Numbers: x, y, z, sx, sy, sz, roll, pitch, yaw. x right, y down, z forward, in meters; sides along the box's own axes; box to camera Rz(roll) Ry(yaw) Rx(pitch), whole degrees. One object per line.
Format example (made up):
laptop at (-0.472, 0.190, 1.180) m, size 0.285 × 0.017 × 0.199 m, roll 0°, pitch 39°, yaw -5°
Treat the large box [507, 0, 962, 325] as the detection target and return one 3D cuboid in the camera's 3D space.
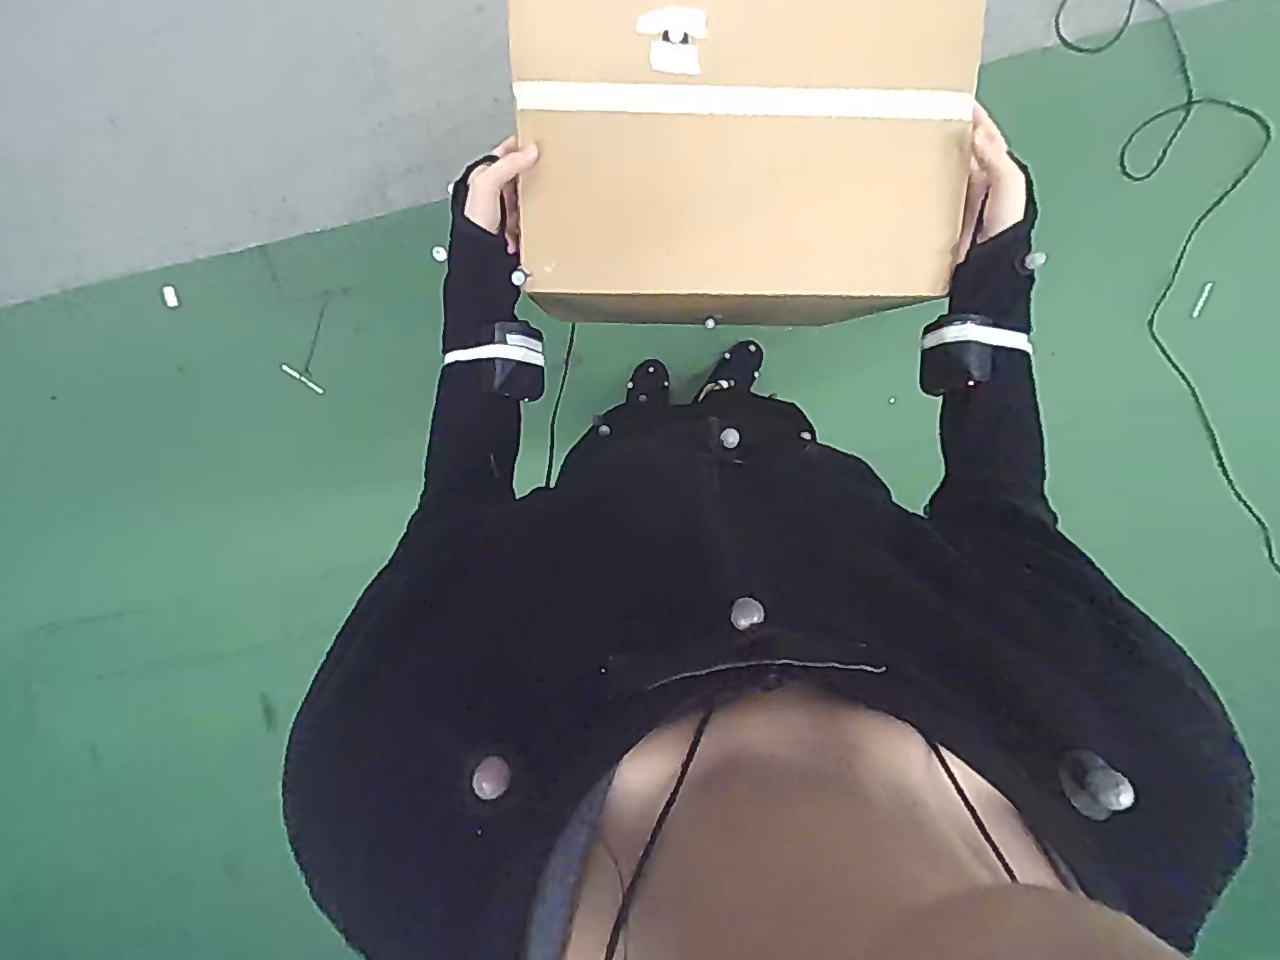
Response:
large box at (0.082, -0.354, 0.632) m, size 0.408 × 0.320 × 0.320 m, roll -1°, pitch 100°, yaw -2°
